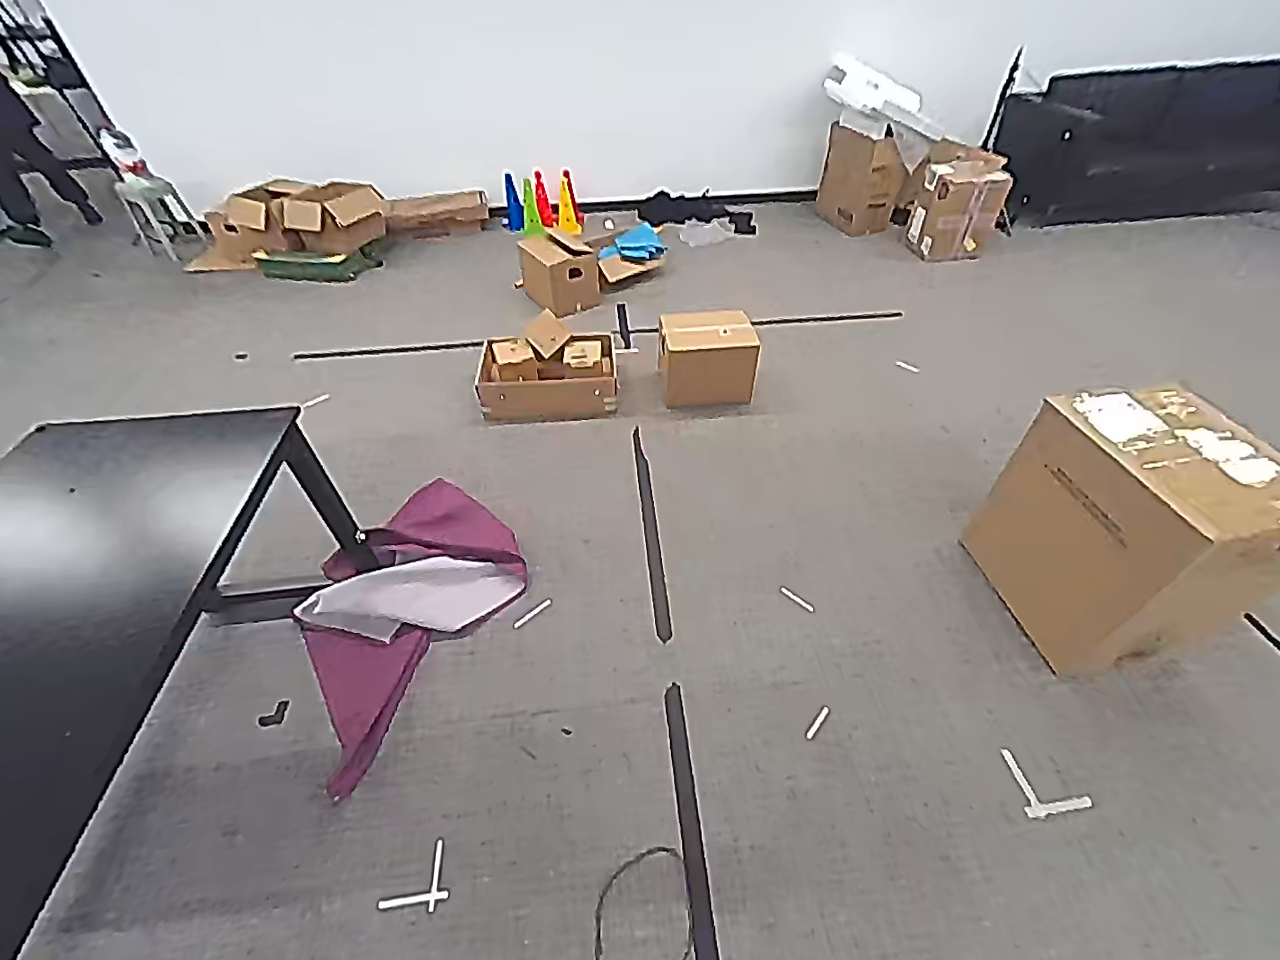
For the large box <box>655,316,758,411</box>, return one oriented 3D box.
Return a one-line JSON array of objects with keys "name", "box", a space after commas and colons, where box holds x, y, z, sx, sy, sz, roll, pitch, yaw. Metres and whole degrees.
[{"name": "large box", "box": [0.294, -0.544, 2.524, 0.408, 0.320, 0.320, -4, 45, -5]}]
